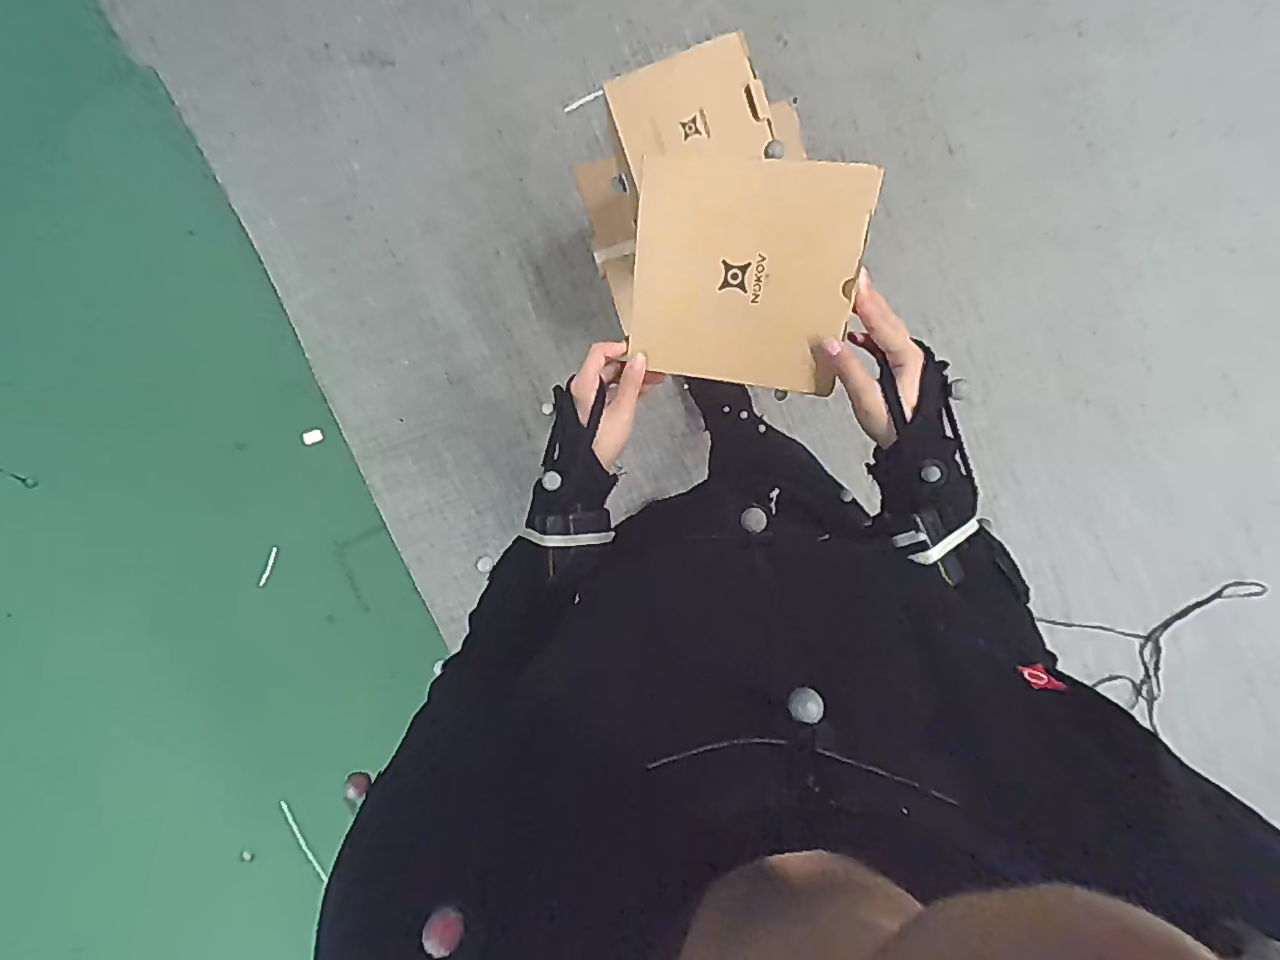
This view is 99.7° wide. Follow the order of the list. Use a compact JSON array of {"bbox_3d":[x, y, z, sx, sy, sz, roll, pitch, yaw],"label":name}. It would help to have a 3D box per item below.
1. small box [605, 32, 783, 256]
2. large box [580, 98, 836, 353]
[{"bbox_3d":[0.066,-0.427,0.720,0.179,0.176,0.168,-20,96,5],"label":"small box"},{"bbox_3d":[0.127,-0.485,1.121,0.408,0.320,0.320,-17,98,3],"label":"large box"}]
